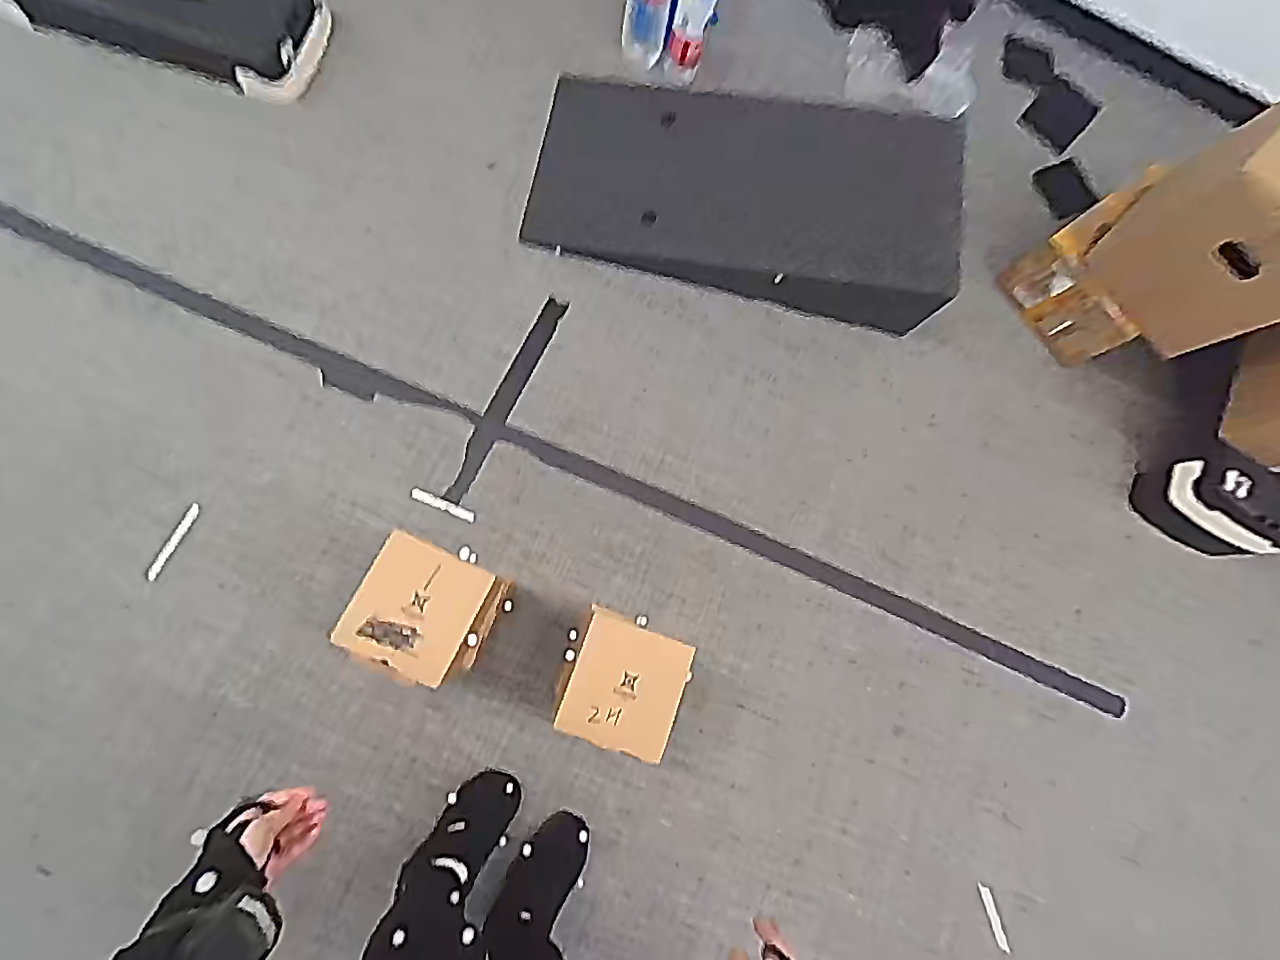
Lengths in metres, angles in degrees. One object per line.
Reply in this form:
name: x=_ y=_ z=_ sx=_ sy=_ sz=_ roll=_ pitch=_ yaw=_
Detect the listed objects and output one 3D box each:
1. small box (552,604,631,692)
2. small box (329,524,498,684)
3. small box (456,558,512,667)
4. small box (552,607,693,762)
small box: x=-0.054 y=0.341 z=1.028 sx=0.179 sy=0.176 sz=0.168 roll=25 pitch=76 yaw=-4
small box: x=-0.334 y=0.190 z=0.844 sx=0.168 sy=0.176 sz=0.179 roll=27 pitch=74 yaw=-4
small box: x=-0.351 y=0.224 z=1.004 sx=0.179 sy=0.176 sz=0.168 roll=24 pitch=76 yaw=-4
small box: x=-0.035 y=0.313 z=0.866 sx=0.168 sy=0.176 sz=0.179 roll=22 pitch=76 yaw=-3
